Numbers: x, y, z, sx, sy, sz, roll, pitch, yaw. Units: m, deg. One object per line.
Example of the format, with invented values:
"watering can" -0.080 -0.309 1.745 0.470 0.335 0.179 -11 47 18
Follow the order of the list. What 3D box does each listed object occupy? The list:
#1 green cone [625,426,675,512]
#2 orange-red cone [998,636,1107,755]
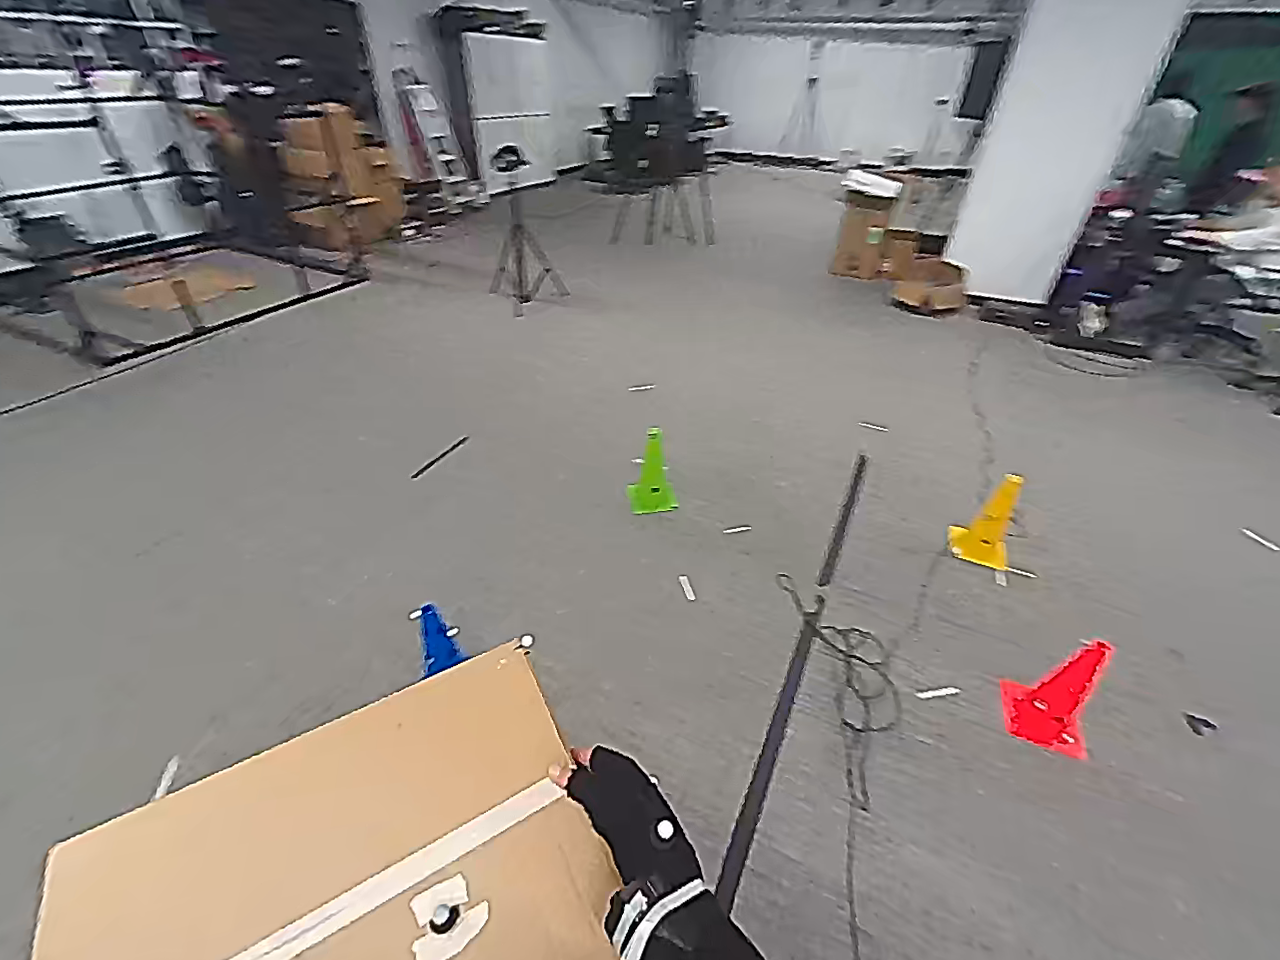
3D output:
"green cone" 0.042 -0.068 2.316 0.202 0.368 0.200 -7 37 -9
"orange-red cone" 1.197 0.566 1.523 0.198 0.360 0.199 17 38 17
